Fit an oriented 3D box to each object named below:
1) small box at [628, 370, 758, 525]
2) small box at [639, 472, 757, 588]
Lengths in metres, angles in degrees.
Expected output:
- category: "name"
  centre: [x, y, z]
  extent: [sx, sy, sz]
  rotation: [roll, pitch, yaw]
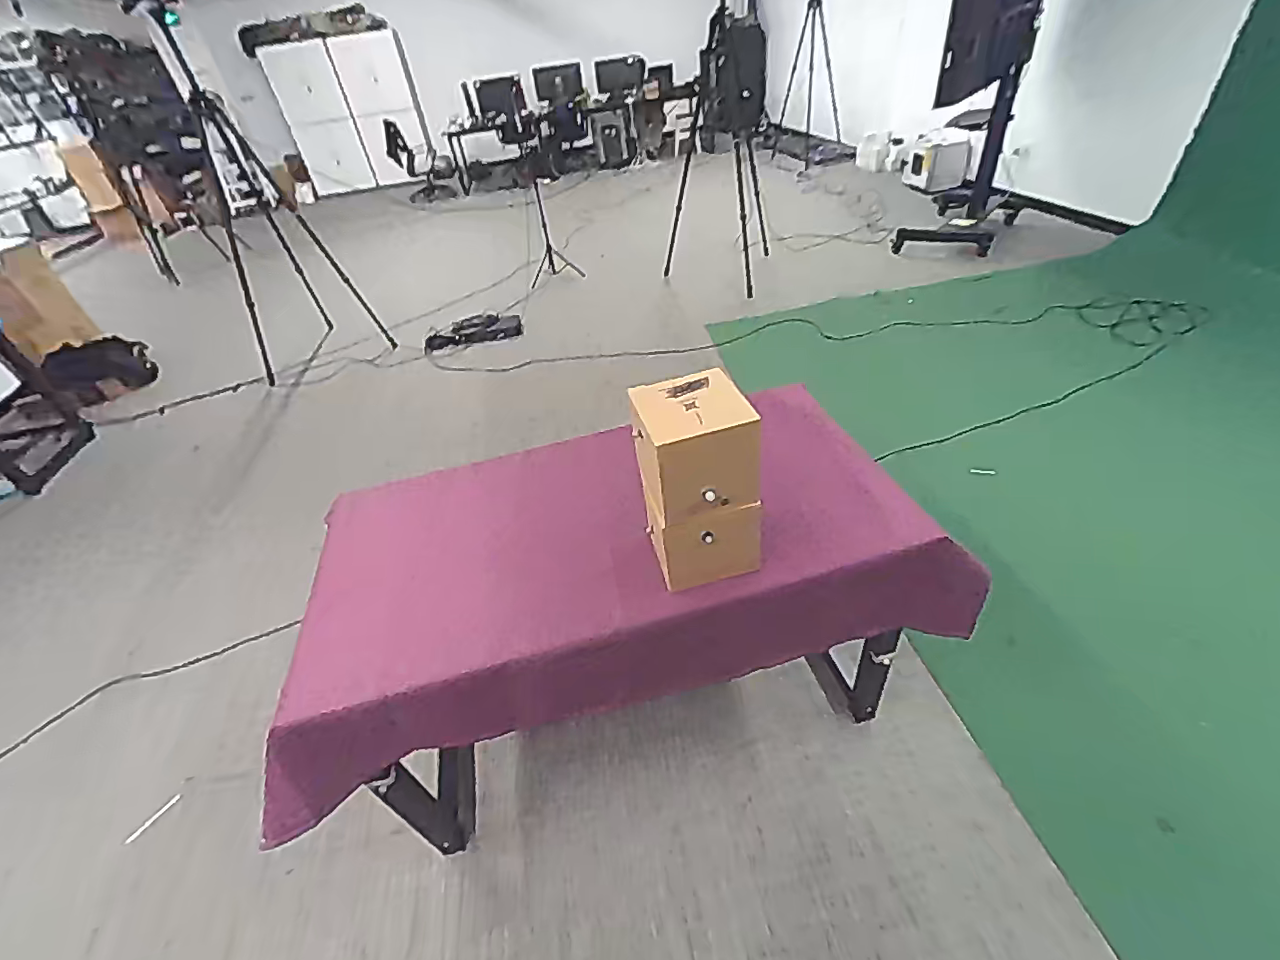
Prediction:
- category: "small box"
  centre: [0.085, -0.055, 0.899]
  extent: [0.168, 0.176, 0.179]
  rotation: [-15, 40, -6]
- category: "small box"
  centre: [0.107, 0.076, 0.997]
  extent: [0.179, 0.176, 0.168]
  rotation: [-13, 40, -5]
